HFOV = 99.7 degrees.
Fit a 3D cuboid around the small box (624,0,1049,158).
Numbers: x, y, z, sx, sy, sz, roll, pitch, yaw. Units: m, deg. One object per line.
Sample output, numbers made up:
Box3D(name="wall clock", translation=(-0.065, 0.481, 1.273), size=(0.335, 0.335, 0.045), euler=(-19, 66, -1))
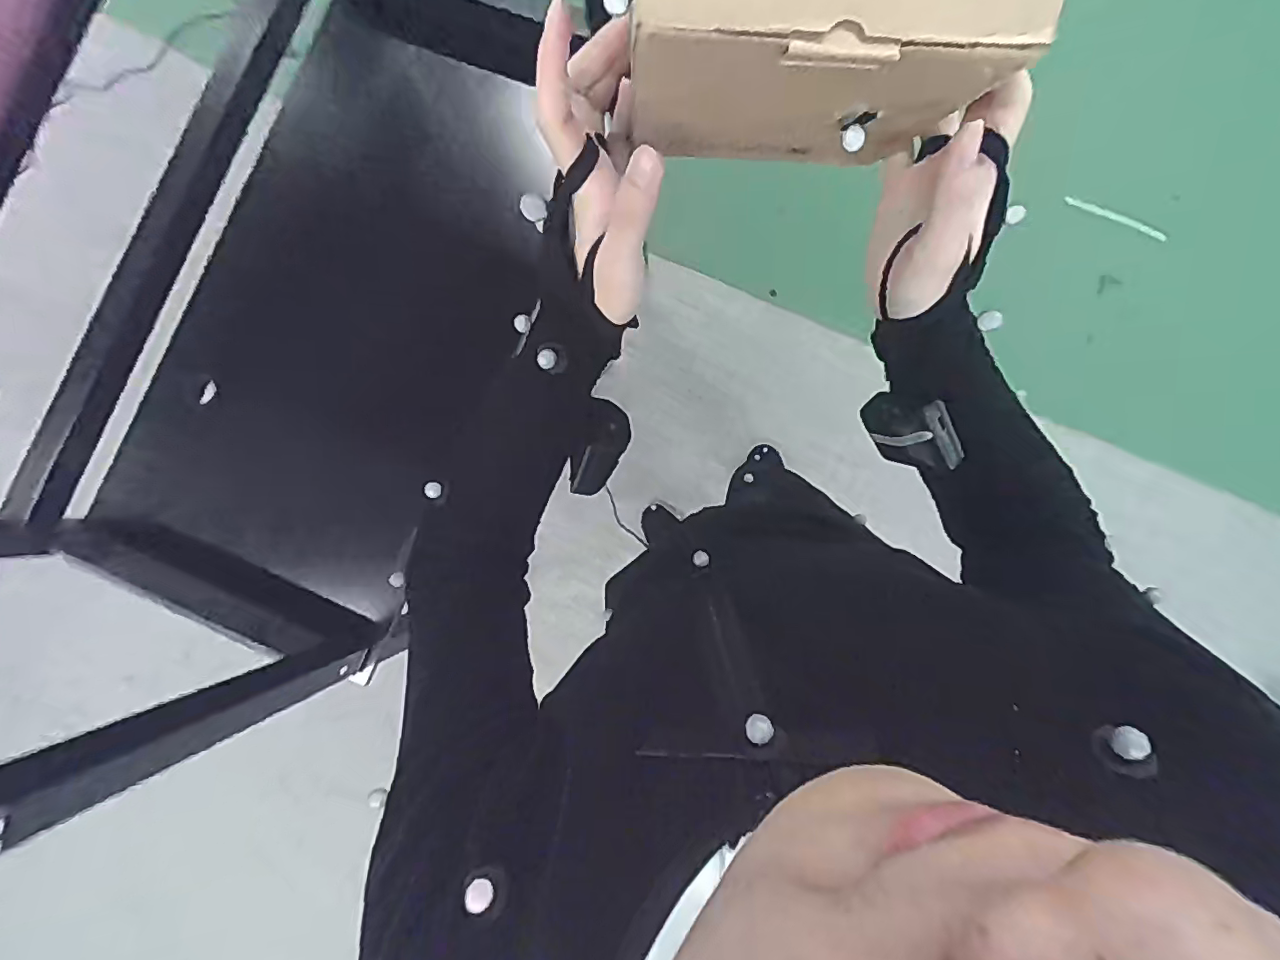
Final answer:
Box3D(name="small box", translation=(0.081, -0.278, 0.263), size=(0.168, 0.176, 0.179), euler=(3, 106, -2))
